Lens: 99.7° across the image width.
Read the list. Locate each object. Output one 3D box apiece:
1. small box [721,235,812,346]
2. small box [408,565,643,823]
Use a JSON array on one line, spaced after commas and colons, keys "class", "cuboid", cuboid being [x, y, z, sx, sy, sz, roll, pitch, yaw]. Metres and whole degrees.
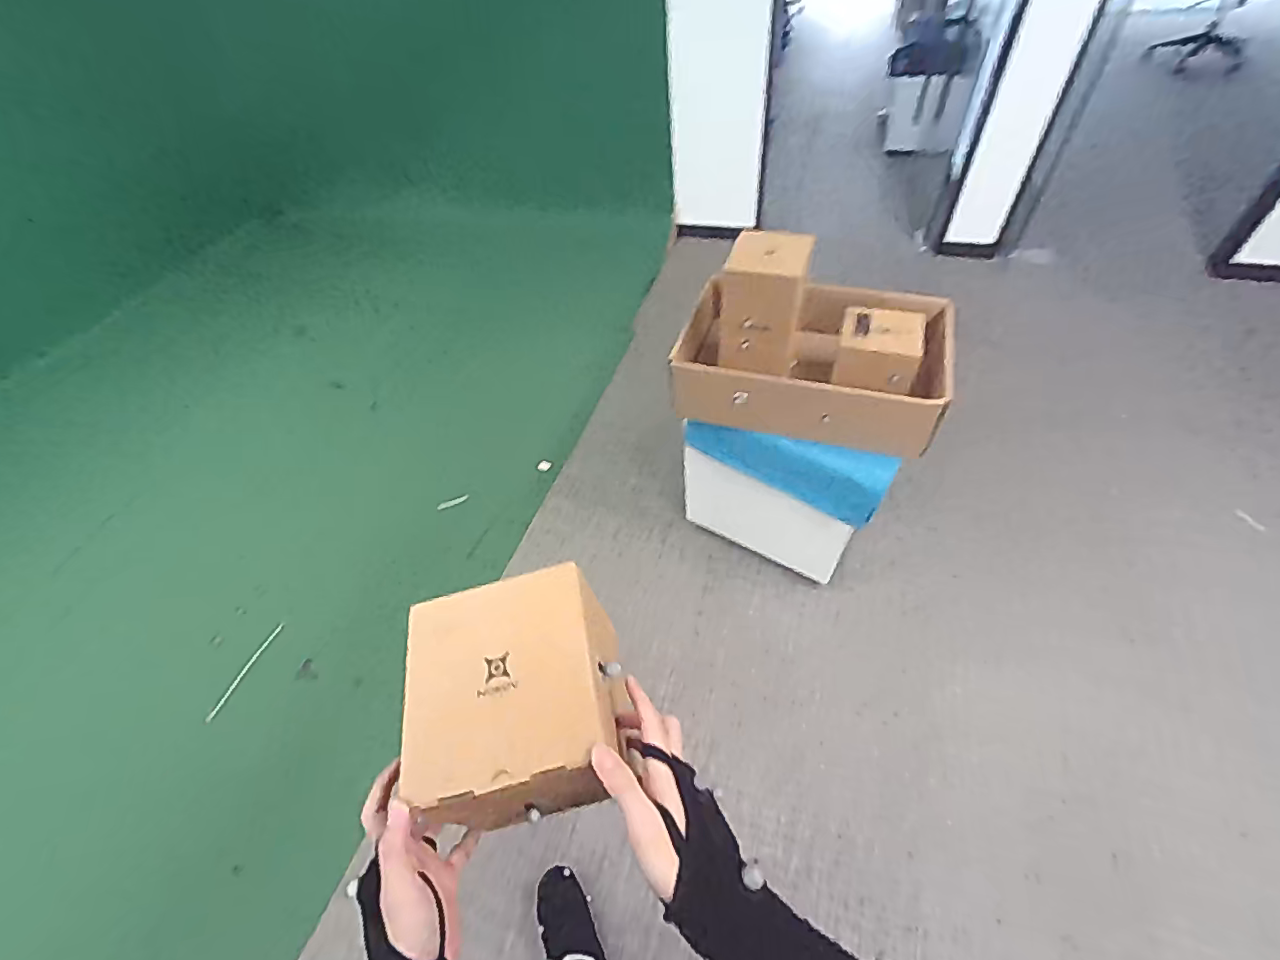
[{"class": "small box", "cuboid": [0.287, -0.437, 1.250, 0.168, 0.176, 0.179, 13, 53, 16]}, {"class": "small box", "cuboid": [-0.101, 0.213, 0.529, 0.168, 0.176, 0.179, -15, 52, 1]}]
